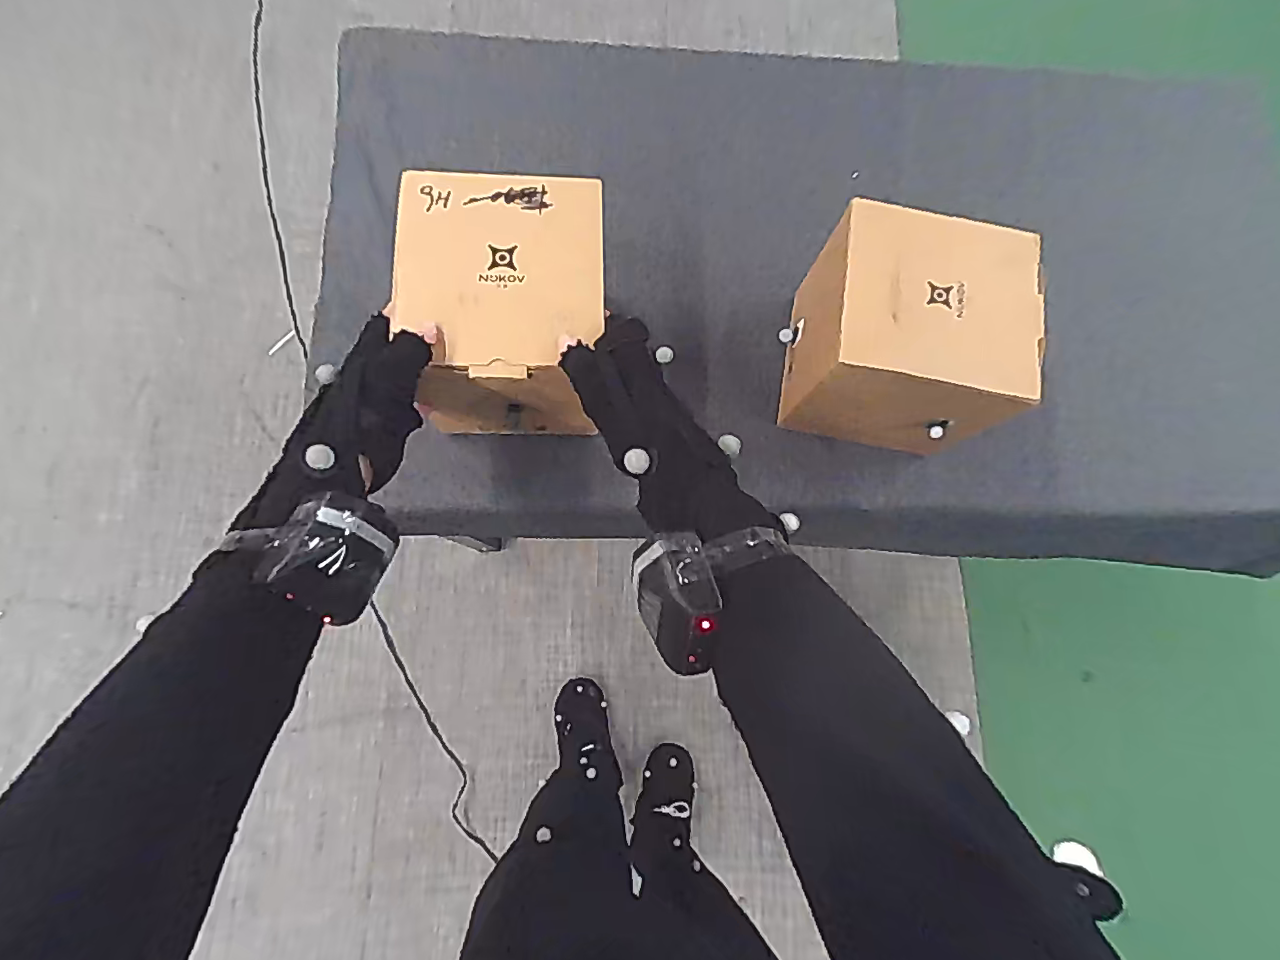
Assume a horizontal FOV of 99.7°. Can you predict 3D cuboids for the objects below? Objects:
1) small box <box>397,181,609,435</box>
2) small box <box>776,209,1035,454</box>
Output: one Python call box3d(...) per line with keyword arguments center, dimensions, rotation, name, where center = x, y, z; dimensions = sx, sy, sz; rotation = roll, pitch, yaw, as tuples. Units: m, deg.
box3d(center=(-0.114, -0.145, 0.513), dimensions=(0.168, 0.176, 0.179), rotation=(0, 77, -6), name="small box")
box3d(center=(0.256, -0.134, 0.551), dimensions=(0.179, 0.176, 0.168), rotation=(10, 75, -1), name="small box")
